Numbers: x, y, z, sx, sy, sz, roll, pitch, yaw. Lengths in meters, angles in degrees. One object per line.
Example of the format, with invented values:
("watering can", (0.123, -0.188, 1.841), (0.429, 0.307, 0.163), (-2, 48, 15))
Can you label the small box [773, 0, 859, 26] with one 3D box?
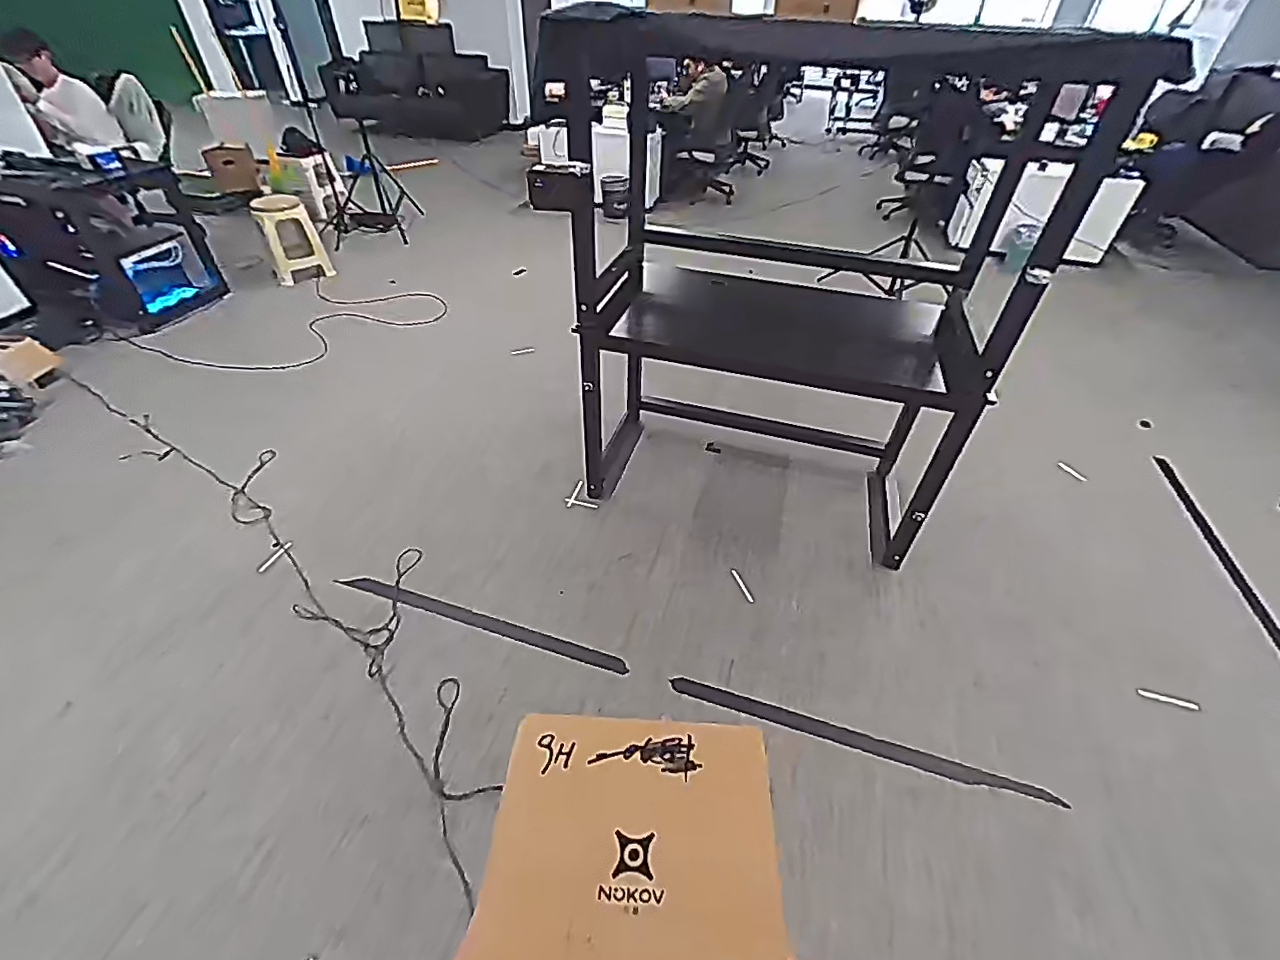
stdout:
("small box", (0.375, -1.043, 1.102), (0.168, 0.176, 0.179), (13, 41, 12))

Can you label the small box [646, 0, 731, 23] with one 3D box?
("small box", (0.113, -1.099, 1.158), (0.168, 0.176, 0.179), (13, 42, 10))

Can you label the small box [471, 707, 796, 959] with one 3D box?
("small box", (0.000, 0.273, 0.350), (0.168, 0.176, 0.179), (3, 42, 2))
